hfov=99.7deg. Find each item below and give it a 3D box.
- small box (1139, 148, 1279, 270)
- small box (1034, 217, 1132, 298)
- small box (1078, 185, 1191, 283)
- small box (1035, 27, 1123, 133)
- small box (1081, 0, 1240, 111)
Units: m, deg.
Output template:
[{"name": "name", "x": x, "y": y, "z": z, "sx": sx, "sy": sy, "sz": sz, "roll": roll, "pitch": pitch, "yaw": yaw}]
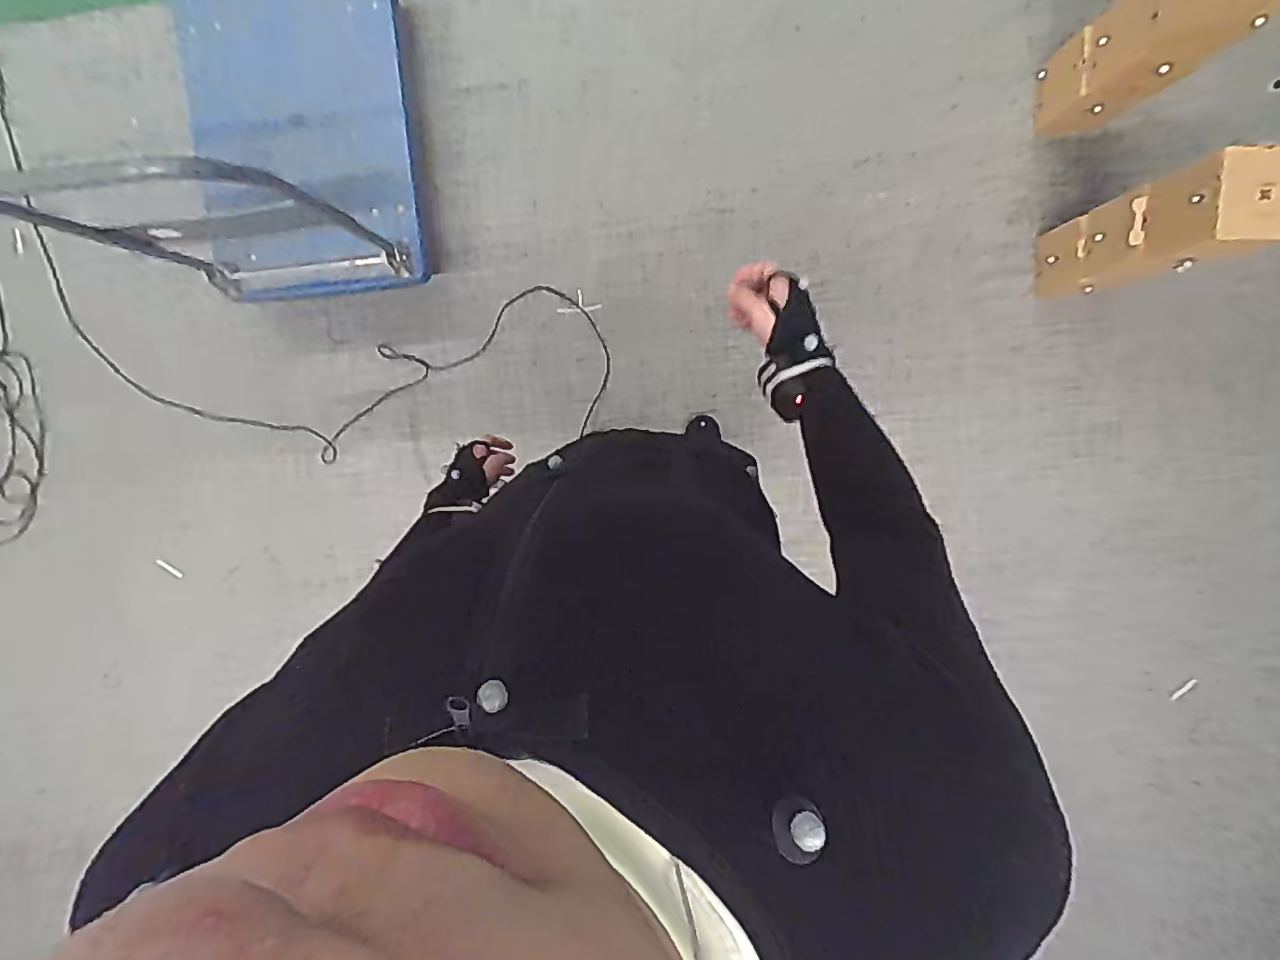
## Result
[{"name": "small box", "x": 1.187, "y": -0.550, "z": 1.114, "sx": 0.168, "sy": 0.176, "sz": 0.179, "roll": 2, "pitch": 96, "yaw": 3}, {"name": "small box", "x": 1.190, "y": -0.589, "z": 1.439, "sx": 0.179, "sy": 0.176, "sz": 0.168, "roll": -2, "pitch": 96, "yaw": 3}, {"name": "small box", "x": 1.194, "y": -0.573, "z": 1.275, "sx": 0.179, "sy": 0.176, "sz": 0.168, "roll": 2, "pitch": 95, "yaw": 2}, {"name": "small box", "x": 1.166, "y": -1.024, "z": 1.396, "sx": 0.179, "sy": 0.176, "sz": 0.168, "roll": 1, "pitch": 96, "yaw": 1}, {"name": "small box", "x": 1.179, "y": -1.011, "z": 1.242, "sx": 0.168, "sy": 0.176, "sz": 0.179, "roll": 33, "pitch": 95, "yaw": 1}]
